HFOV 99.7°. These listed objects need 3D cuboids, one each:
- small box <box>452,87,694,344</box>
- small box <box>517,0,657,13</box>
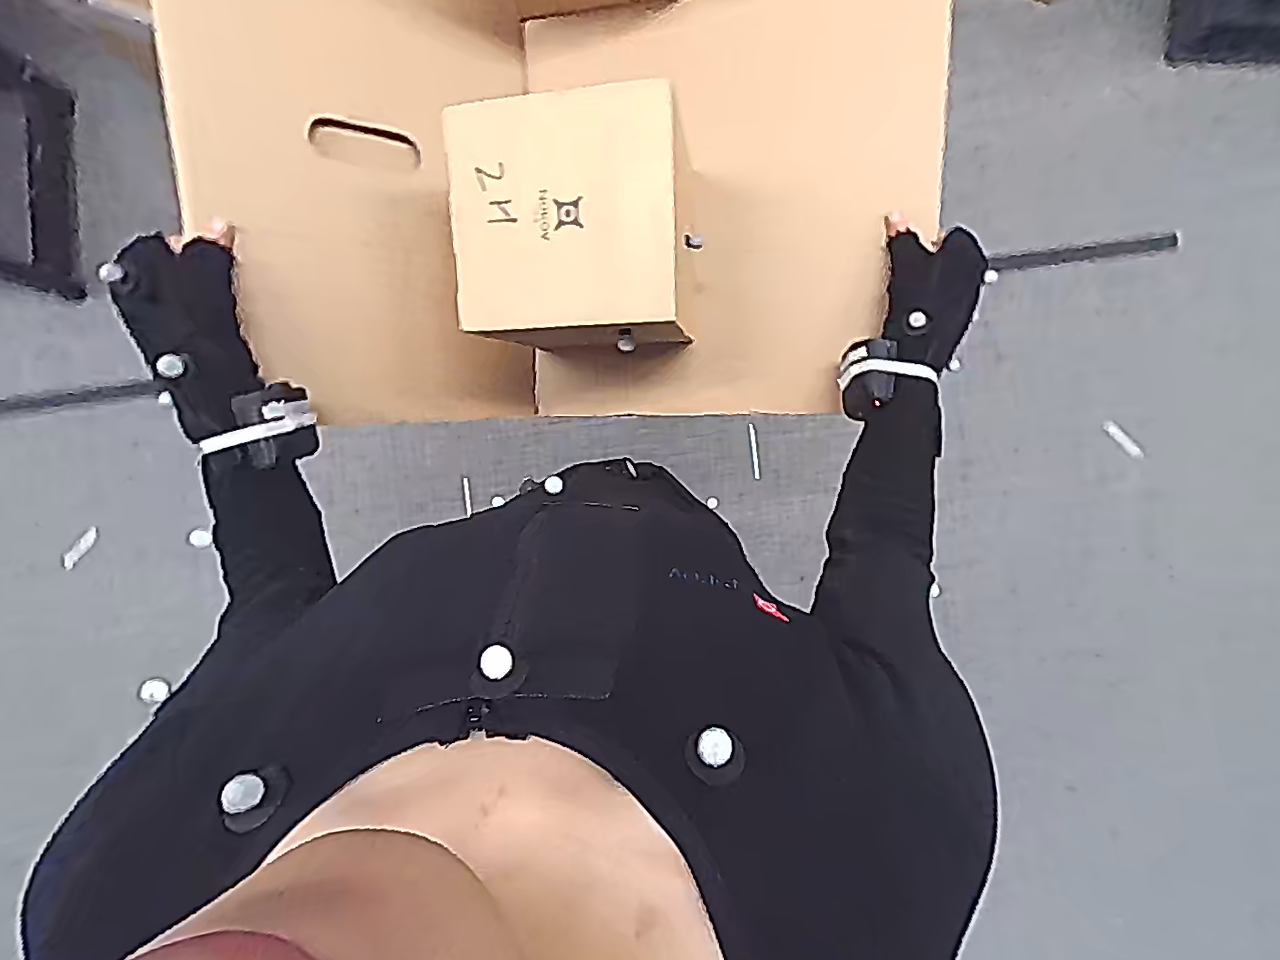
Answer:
[{"bbox_3d":[-0.044,-0.215,0.490,0.179,0.176,0.168,1,99,11],"label":"small box"},{"bbox_3d":[-0.051,-0.528,0.440,0.179,0.176,0.168,1,99,10],"label":"small box"}]
